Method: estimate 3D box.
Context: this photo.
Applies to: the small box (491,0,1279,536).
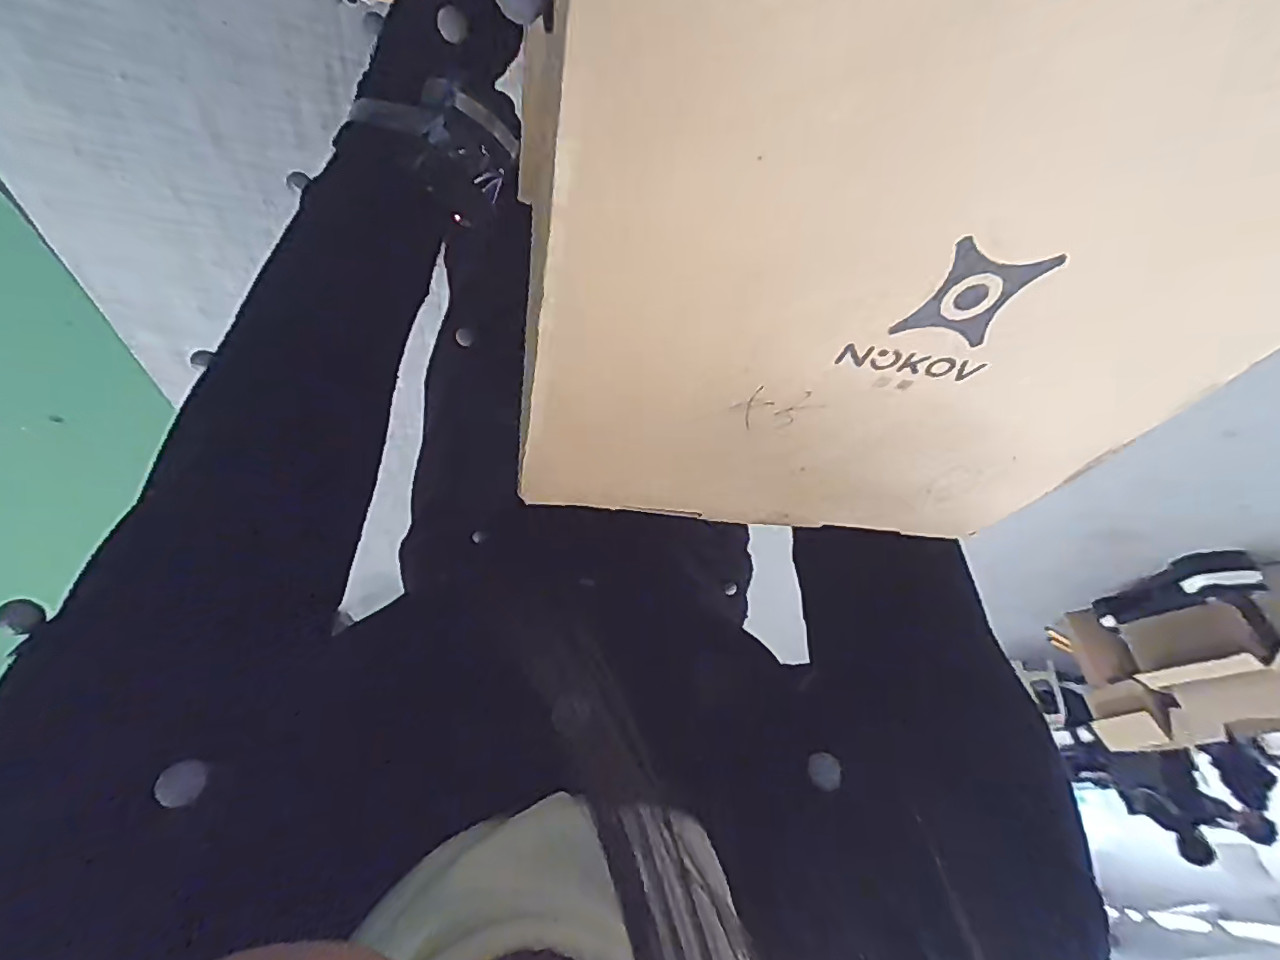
[{"bbox_3d":[0.051,-0.100,0.159,0.168,0.176,0.179,5,148,-13],"label":"small box"}]
